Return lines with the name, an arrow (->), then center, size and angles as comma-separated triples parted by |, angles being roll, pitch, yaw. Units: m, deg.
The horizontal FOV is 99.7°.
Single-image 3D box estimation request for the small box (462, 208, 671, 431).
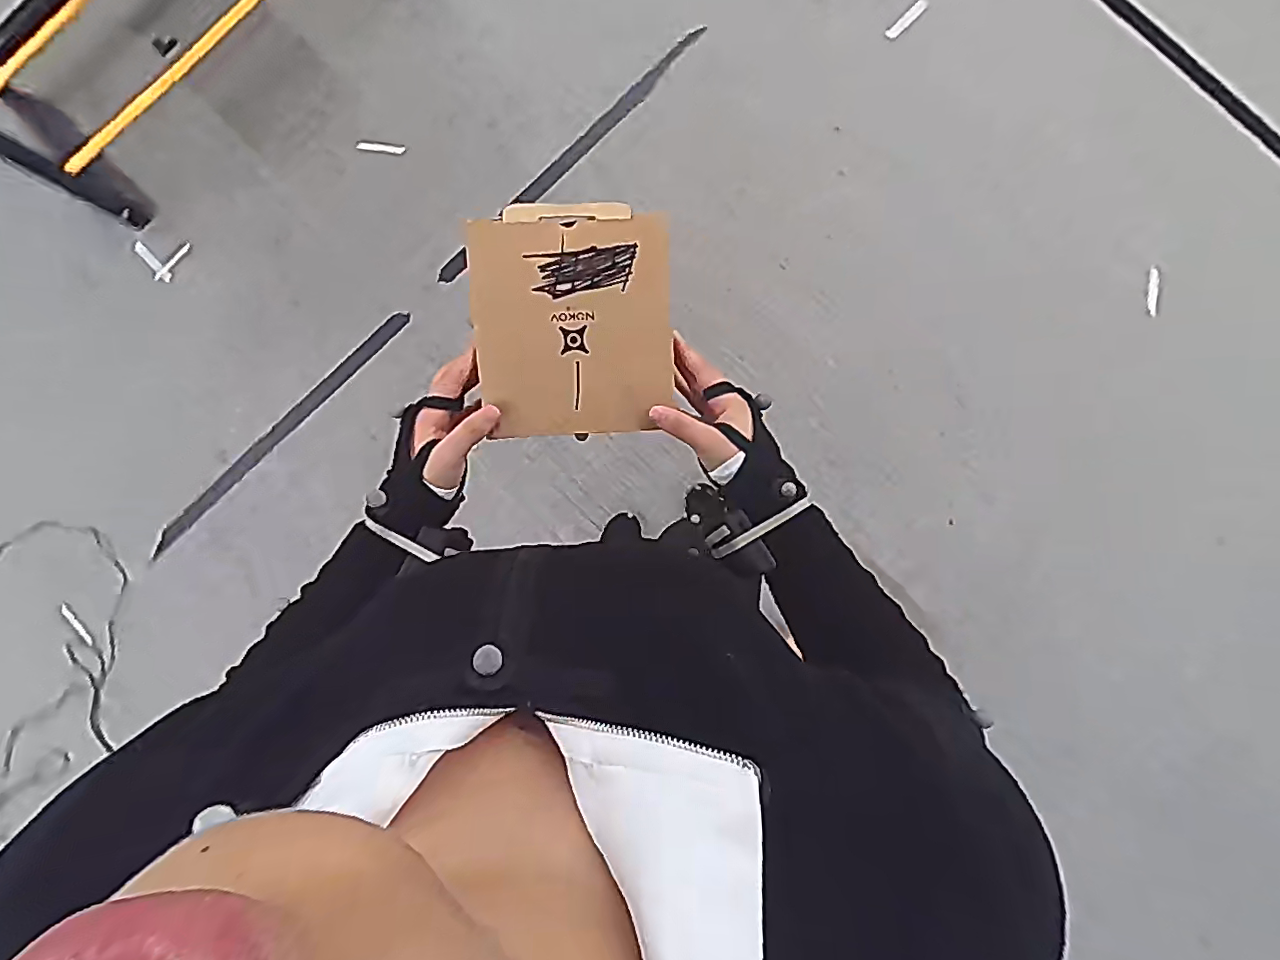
small box -> -0.064, -0.145, 0.530 | 0.168, 0.176, 0.179 | -4, 100, -2
